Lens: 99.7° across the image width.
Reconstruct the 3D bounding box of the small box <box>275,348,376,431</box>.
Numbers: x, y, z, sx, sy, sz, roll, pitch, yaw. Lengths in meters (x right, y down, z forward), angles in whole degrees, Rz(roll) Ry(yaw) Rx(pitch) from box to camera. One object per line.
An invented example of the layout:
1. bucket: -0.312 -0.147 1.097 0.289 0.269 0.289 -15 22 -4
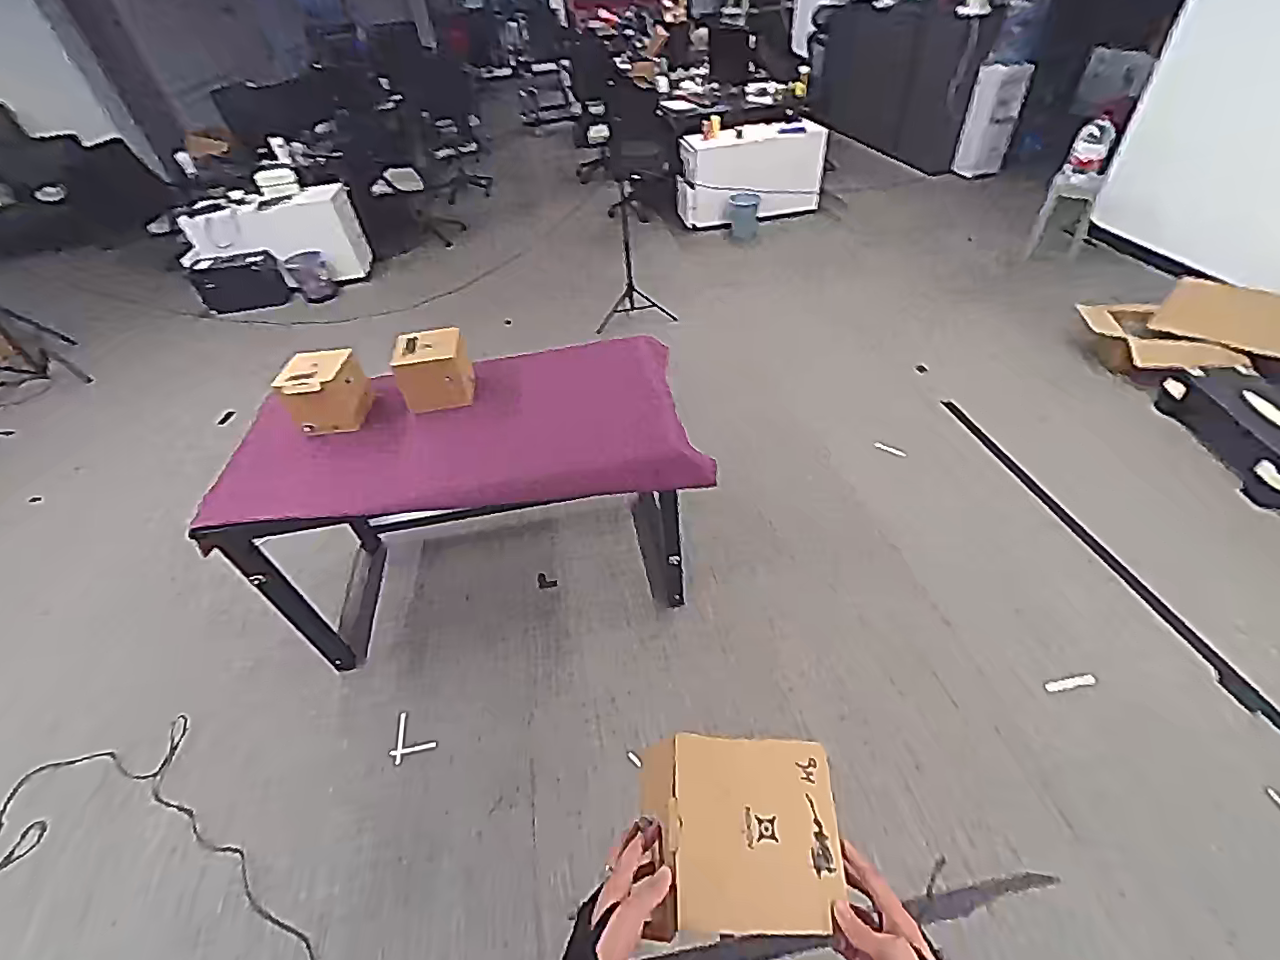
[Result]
1. small box: -0.882 -0.251 1.540 0.168 0.176 0.179 -5 44 0
